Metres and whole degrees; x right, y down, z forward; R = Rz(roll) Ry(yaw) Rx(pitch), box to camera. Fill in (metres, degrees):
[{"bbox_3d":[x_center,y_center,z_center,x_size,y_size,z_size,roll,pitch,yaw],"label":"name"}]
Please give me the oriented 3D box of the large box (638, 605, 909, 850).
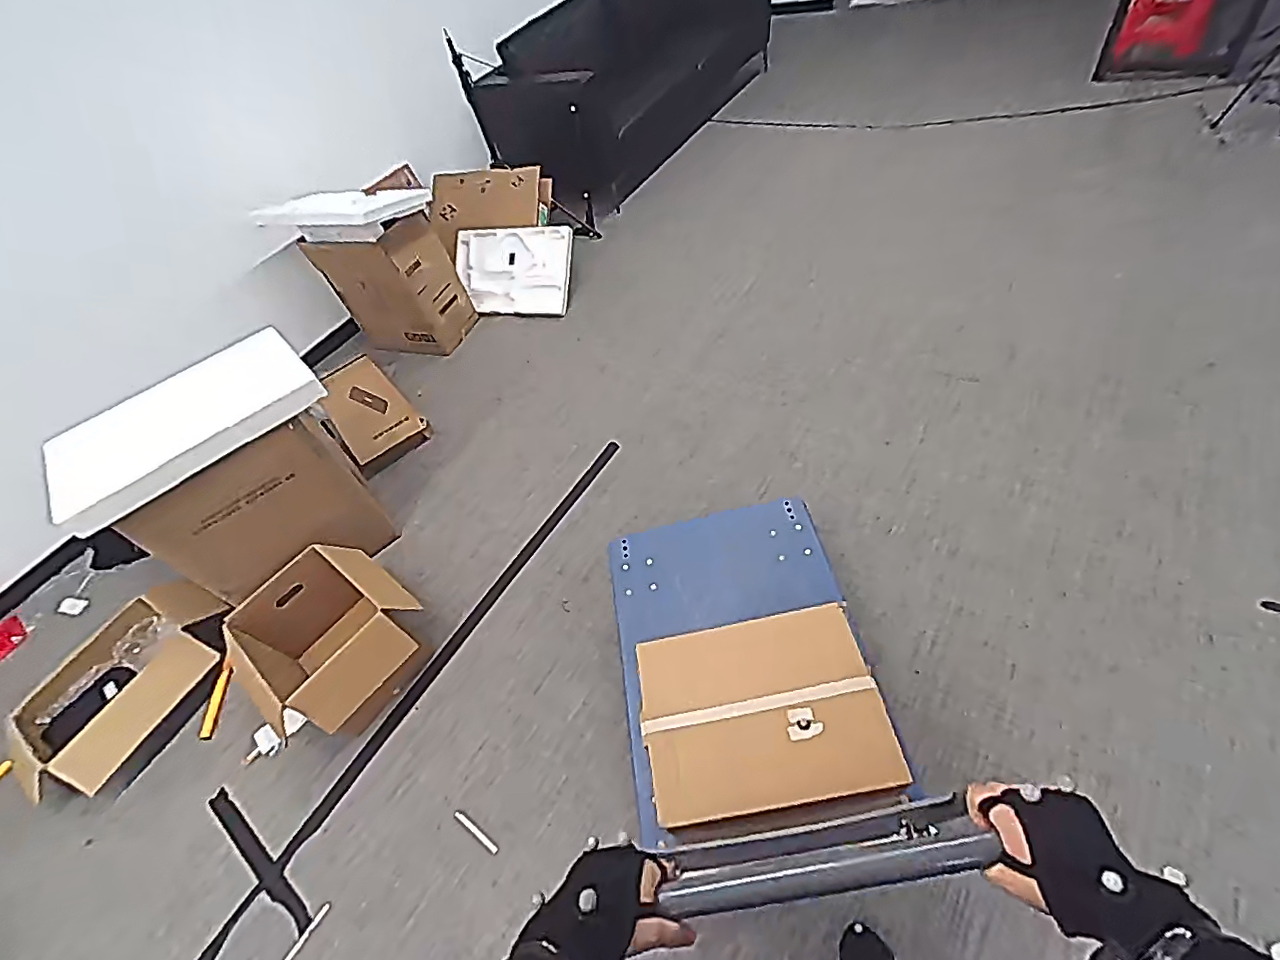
[{"bbox_3d":[0.235,0.492,1.060,0.408,0.320,0.320,-13,50,3],"label":"large box"}]
